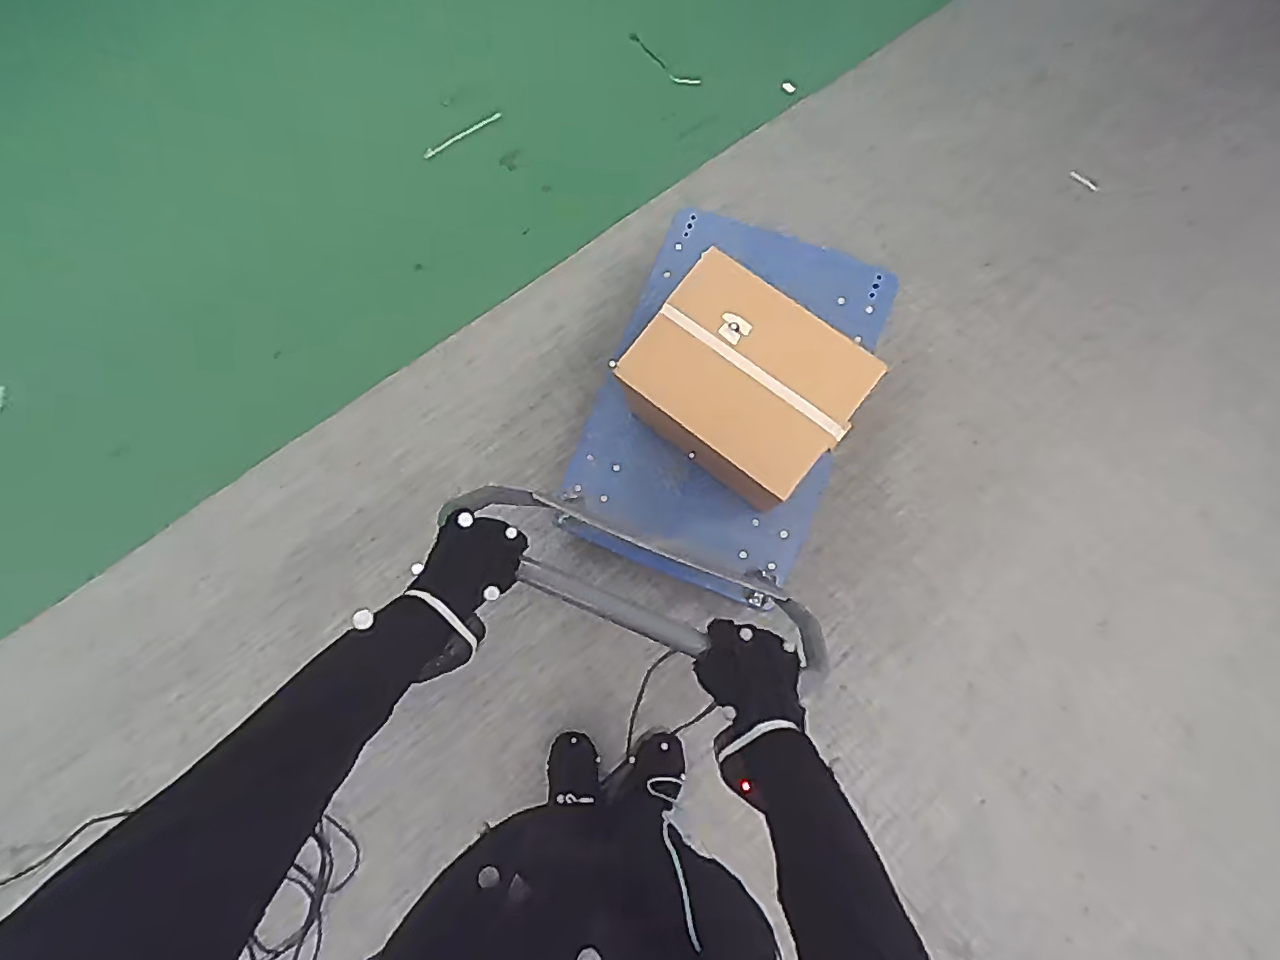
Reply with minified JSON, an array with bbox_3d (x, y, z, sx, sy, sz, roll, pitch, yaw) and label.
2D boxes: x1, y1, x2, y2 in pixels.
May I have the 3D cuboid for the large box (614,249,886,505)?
[{"bbox_3d":[0.216,-0.189,1.138,0.408,0.320,0.320,38,89,10],"label":"large box"}]
